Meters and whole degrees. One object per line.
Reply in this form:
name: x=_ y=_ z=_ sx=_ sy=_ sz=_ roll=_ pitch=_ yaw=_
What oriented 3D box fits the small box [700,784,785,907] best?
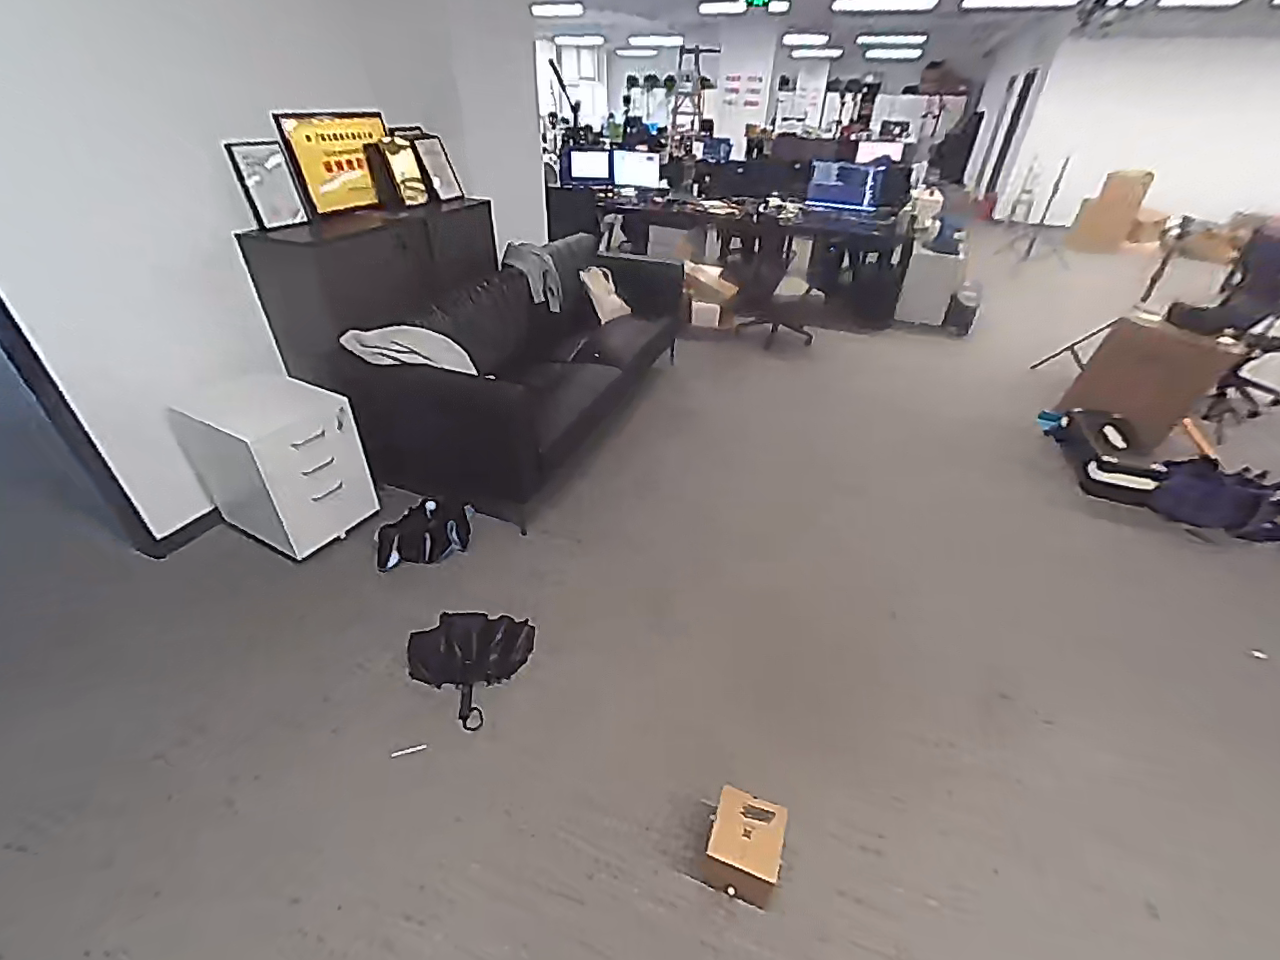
small box: x=0.252 y=0.908 z=1.345 sx=0.168 sy=0.176 sz=0.179 roll=14 pitch=39 yaw=16
